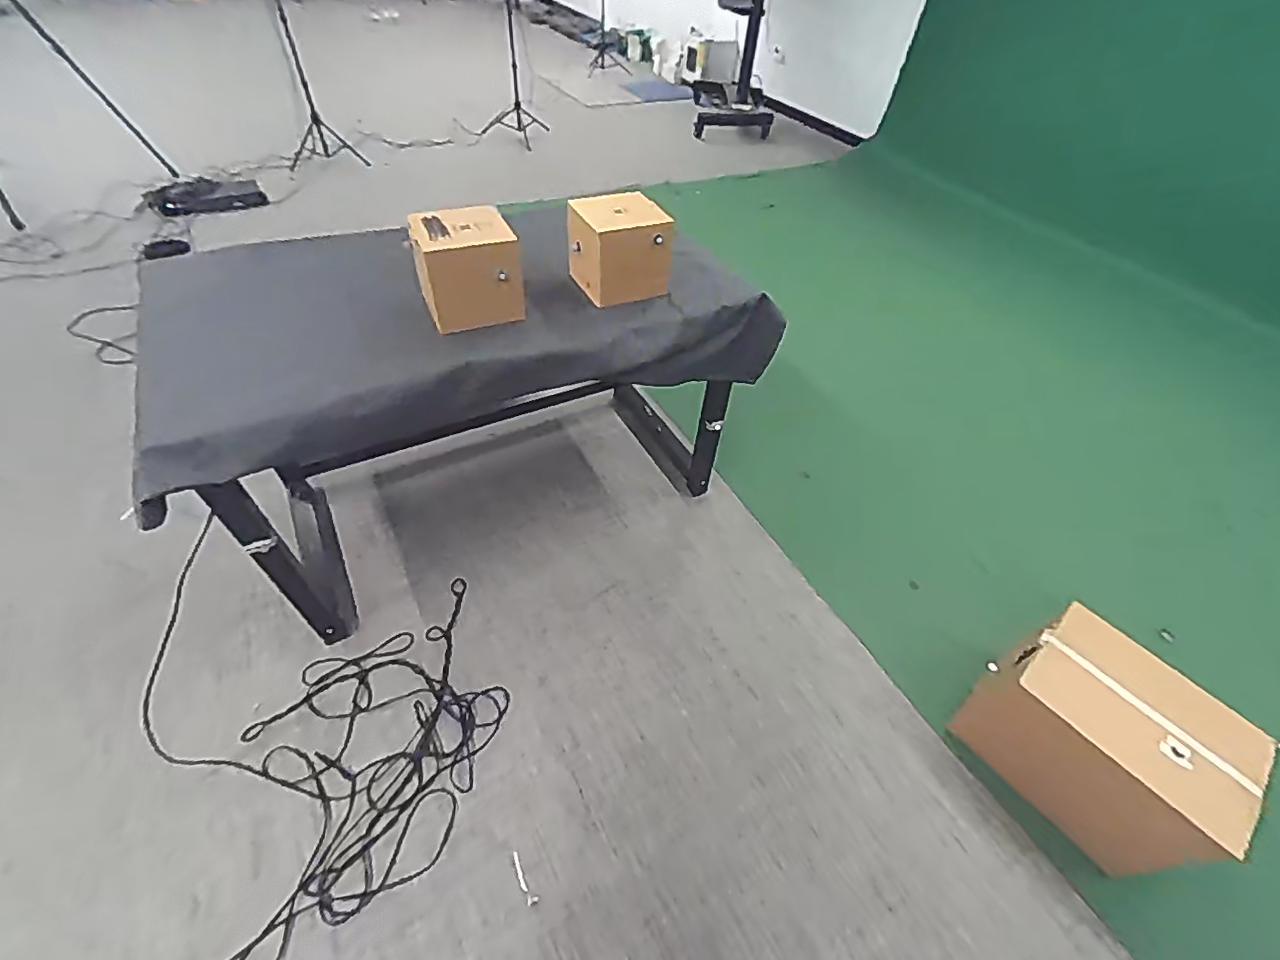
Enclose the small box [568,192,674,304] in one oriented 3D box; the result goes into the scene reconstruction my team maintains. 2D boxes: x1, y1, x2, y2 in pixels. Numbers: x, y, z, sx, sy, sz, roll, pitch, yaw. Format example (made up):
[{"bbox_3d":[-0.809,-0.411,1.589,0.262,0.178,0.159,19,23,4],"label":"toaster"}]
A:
[{"bbox_3d":[-0.044,-0.504,1.180,0.179,0.176,0.168,-19,52,-21],"label":"small box"}]
